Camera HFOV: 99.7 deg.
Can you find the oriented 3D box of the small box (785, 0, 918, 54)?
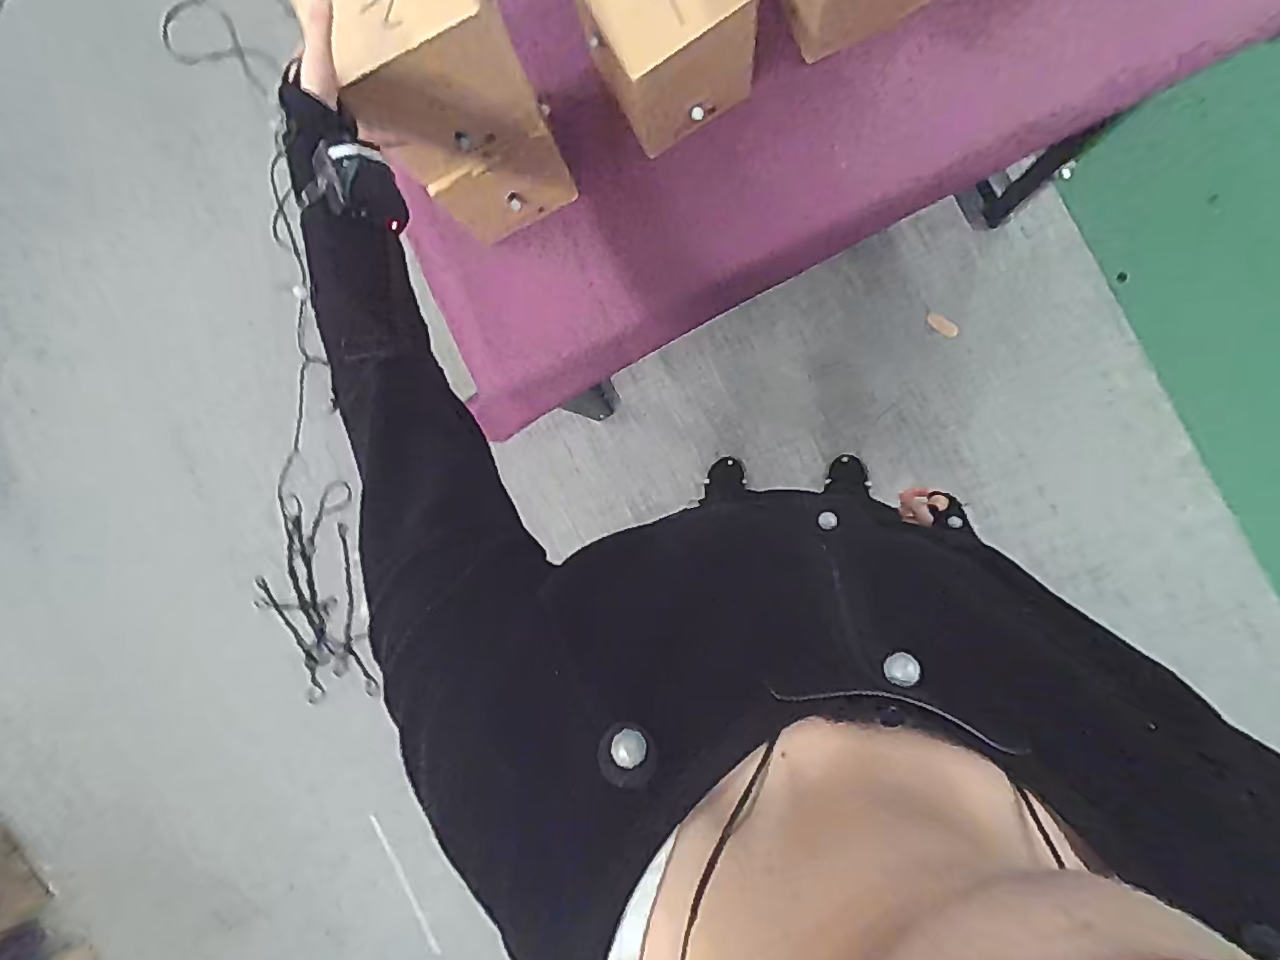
[{"bbox_3d":[0.262,-0.679,0.654,0.179,0.176,0.168,-22,89,8],"label":"small box"}]

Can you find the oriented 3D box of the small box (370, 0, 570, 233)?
[{"bbox_3d":[-0.214,-0.464,0.730,0.168,0.176,0.179,-24,89,8],"label":"small box"}]

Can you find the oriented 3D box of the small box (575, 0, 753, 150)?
[{"bbox_3d":[0.026,-0.578,0.691,0.168,0.176,0.179,-29,88,8],"label":"small box"}]
